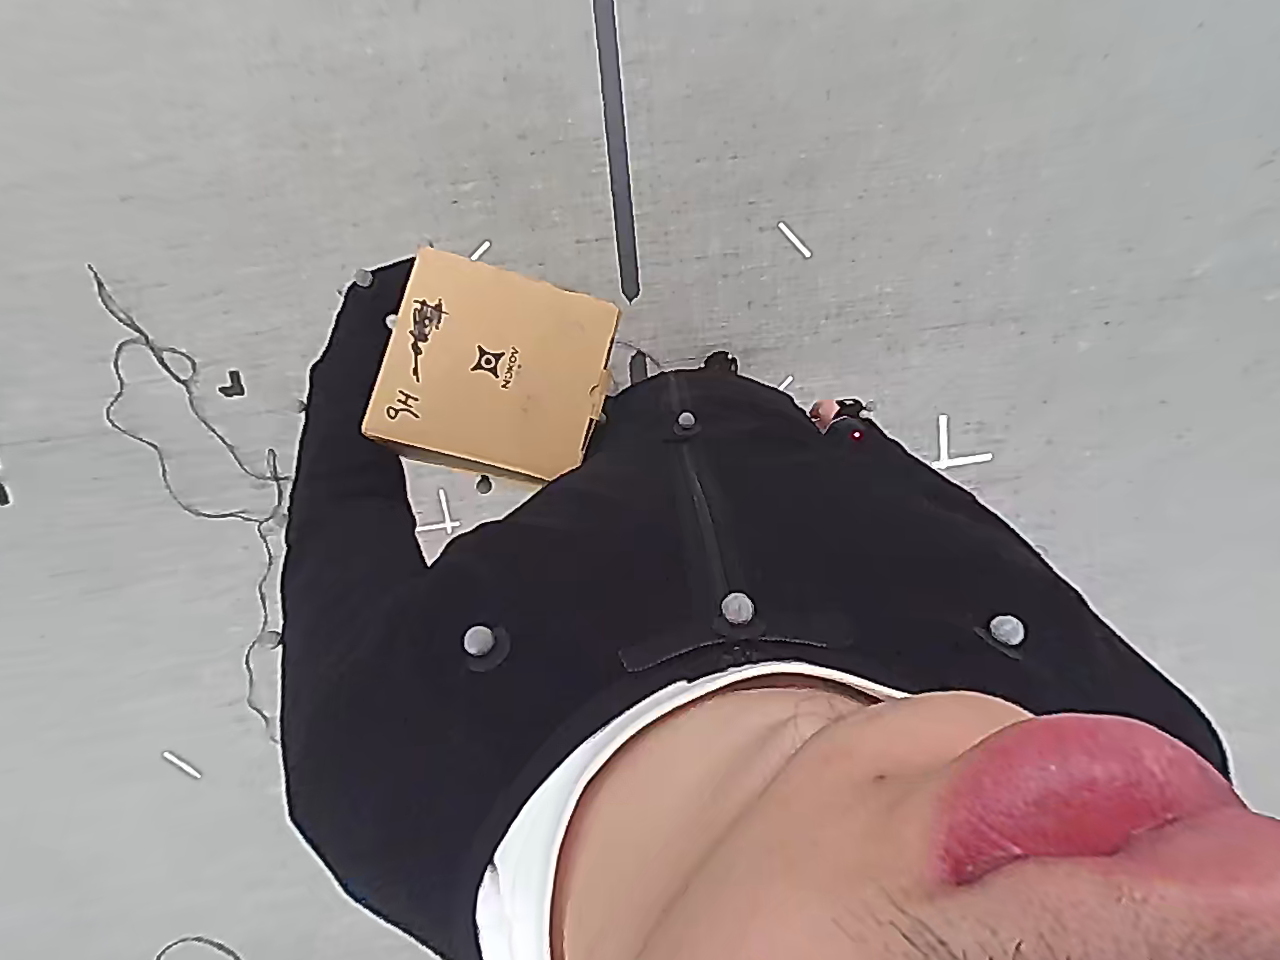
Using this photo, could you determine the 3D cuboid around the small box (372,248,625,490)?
[{"bbox_3d":[-0.130,-0.089,0.534,0.179,0.176,0.168,15,81,-10],"label":"small box"}]
